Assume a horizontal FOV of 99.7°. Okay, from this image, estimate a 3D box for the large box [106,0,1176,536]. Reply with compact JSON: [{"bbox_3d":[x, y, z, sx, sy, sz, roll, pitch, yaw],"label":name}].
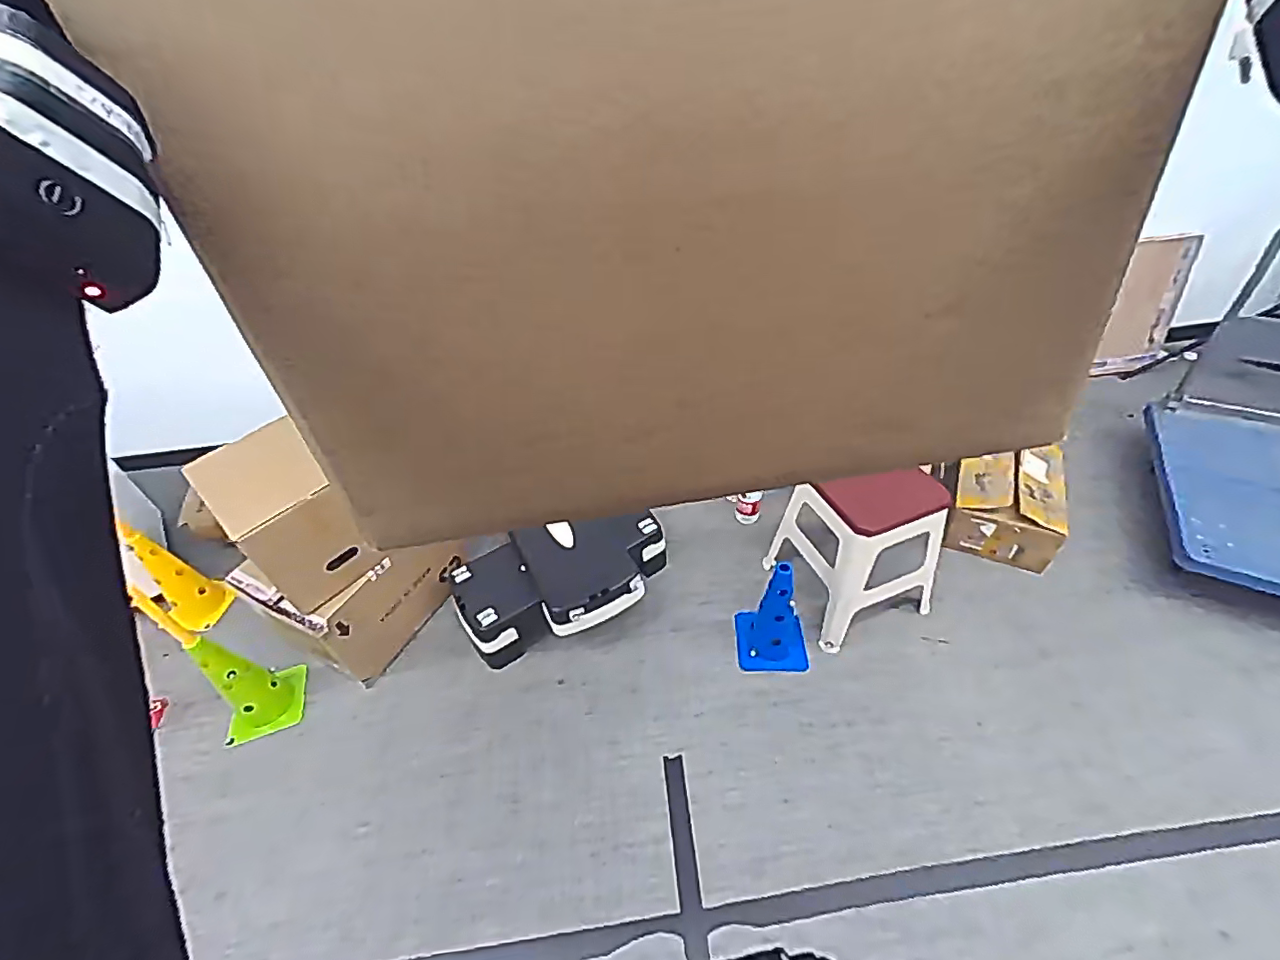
[{"bbox_3d":[0.008,-0.198,0.358,0.408,0.320,0.320,-9,35,-1],"label":"large box"}]
